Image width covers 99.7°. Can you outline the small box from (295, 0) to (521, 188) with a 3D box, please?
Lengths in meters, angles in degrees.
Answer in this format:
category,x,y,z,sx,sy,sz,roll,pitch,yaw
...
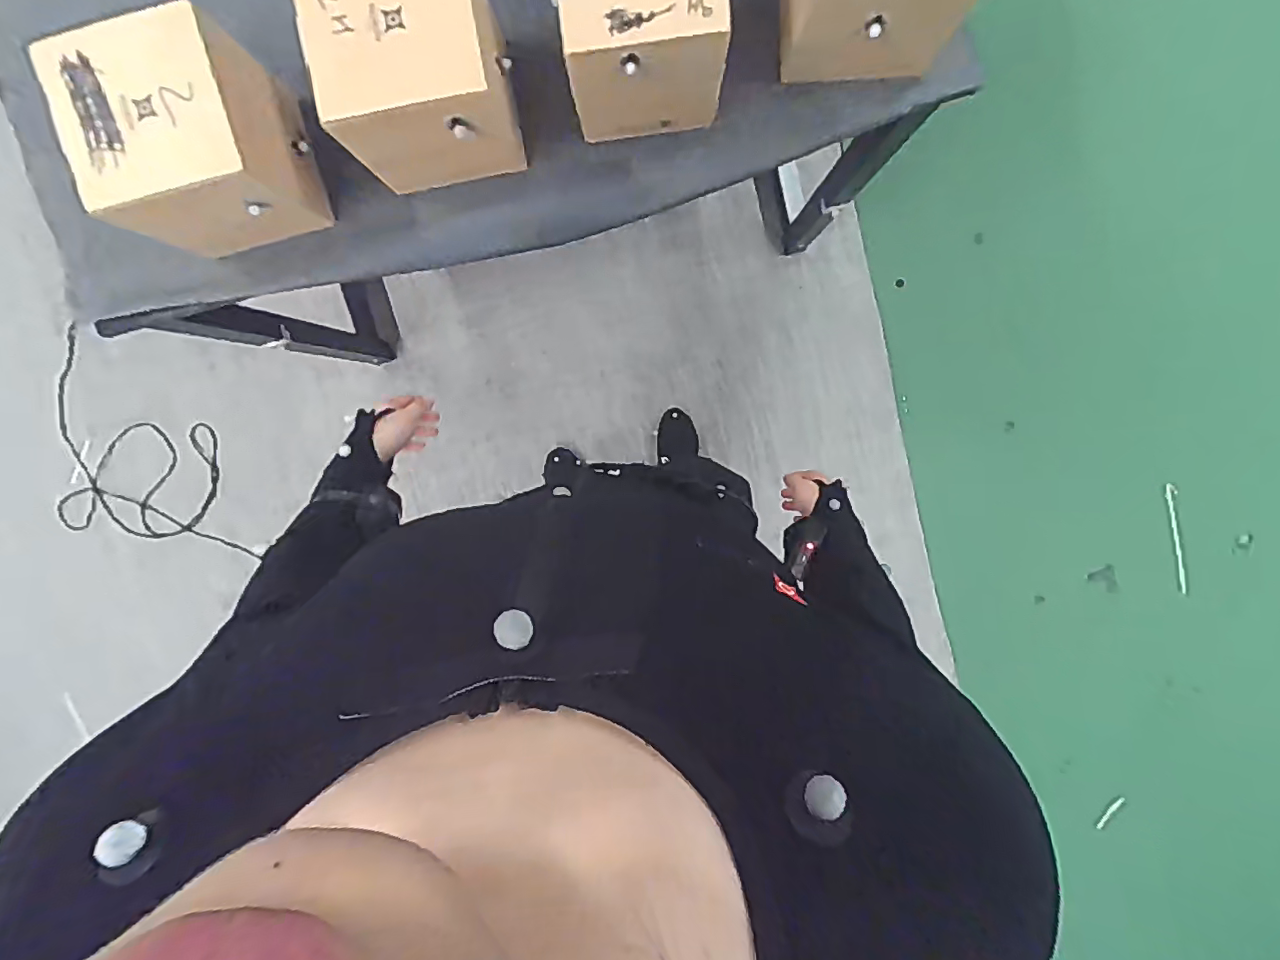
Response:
category,x,y,z,sx,sy,sz,roll,pitch,yaw
small box,-0.242,-0.458,0.606,0.179,0.176,0.168,-9,96,4

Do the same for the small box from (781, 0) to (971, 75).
category,x,y,z,sx,sy,sz,roll,pitch,yaw
small box,0.256,-0.570,0.573,0.179,0.176,0.168,-1,94,3

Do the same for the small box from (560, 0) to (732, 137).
category,x,y,z,sx,sy,sz,roll,pitch,yaw
small box,0.001,-0.517,0.591,0.168,0.176,0.179,-6,95,2
